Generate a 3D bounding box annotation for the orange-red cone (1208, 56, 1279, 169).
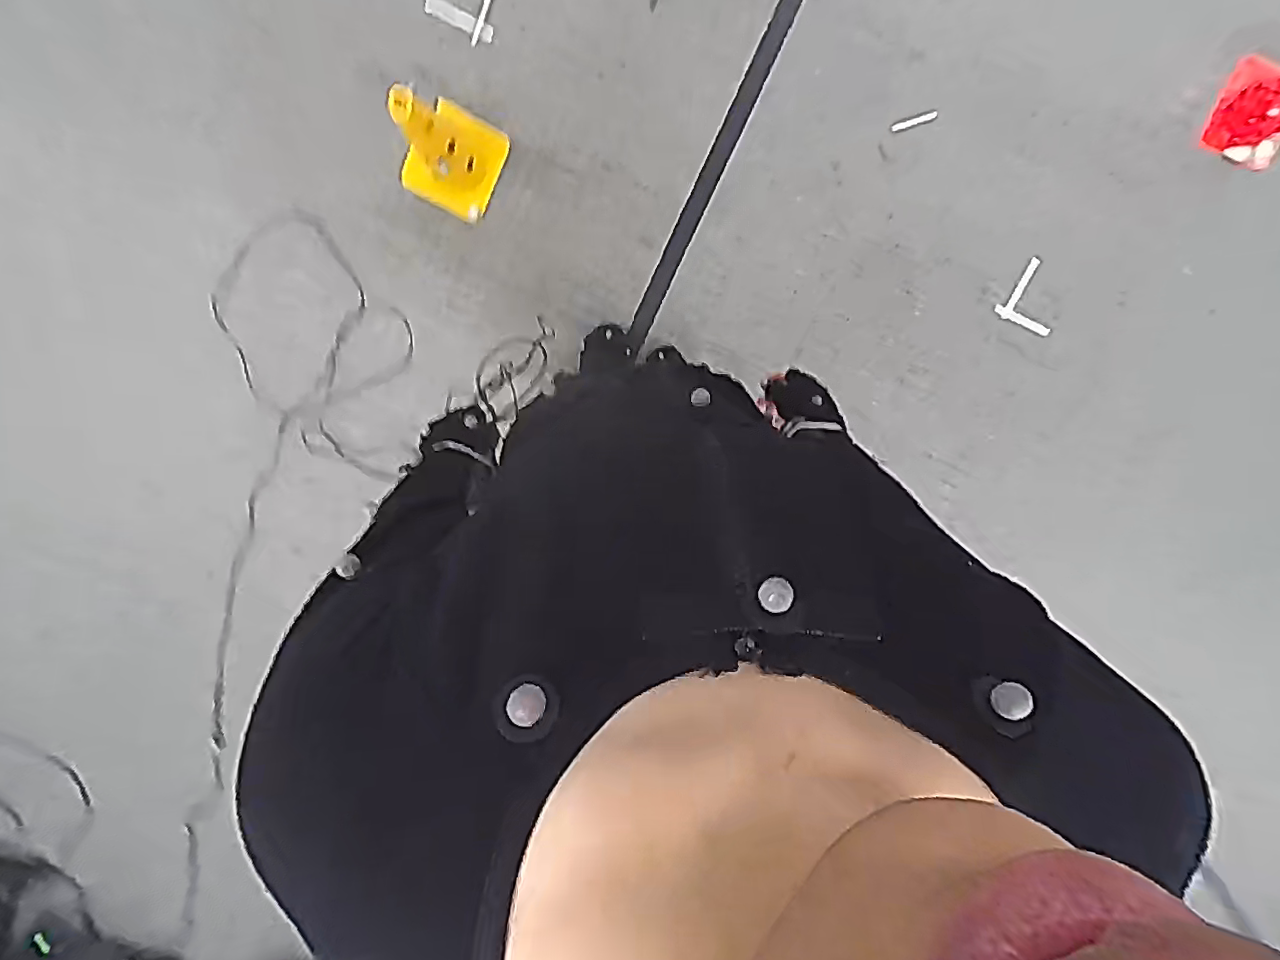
[{"bbox_3d":[1.517,-0.848,1.152,0.198,0.360,0.199,20,103,-9],"label":"orange-red cone"}]
